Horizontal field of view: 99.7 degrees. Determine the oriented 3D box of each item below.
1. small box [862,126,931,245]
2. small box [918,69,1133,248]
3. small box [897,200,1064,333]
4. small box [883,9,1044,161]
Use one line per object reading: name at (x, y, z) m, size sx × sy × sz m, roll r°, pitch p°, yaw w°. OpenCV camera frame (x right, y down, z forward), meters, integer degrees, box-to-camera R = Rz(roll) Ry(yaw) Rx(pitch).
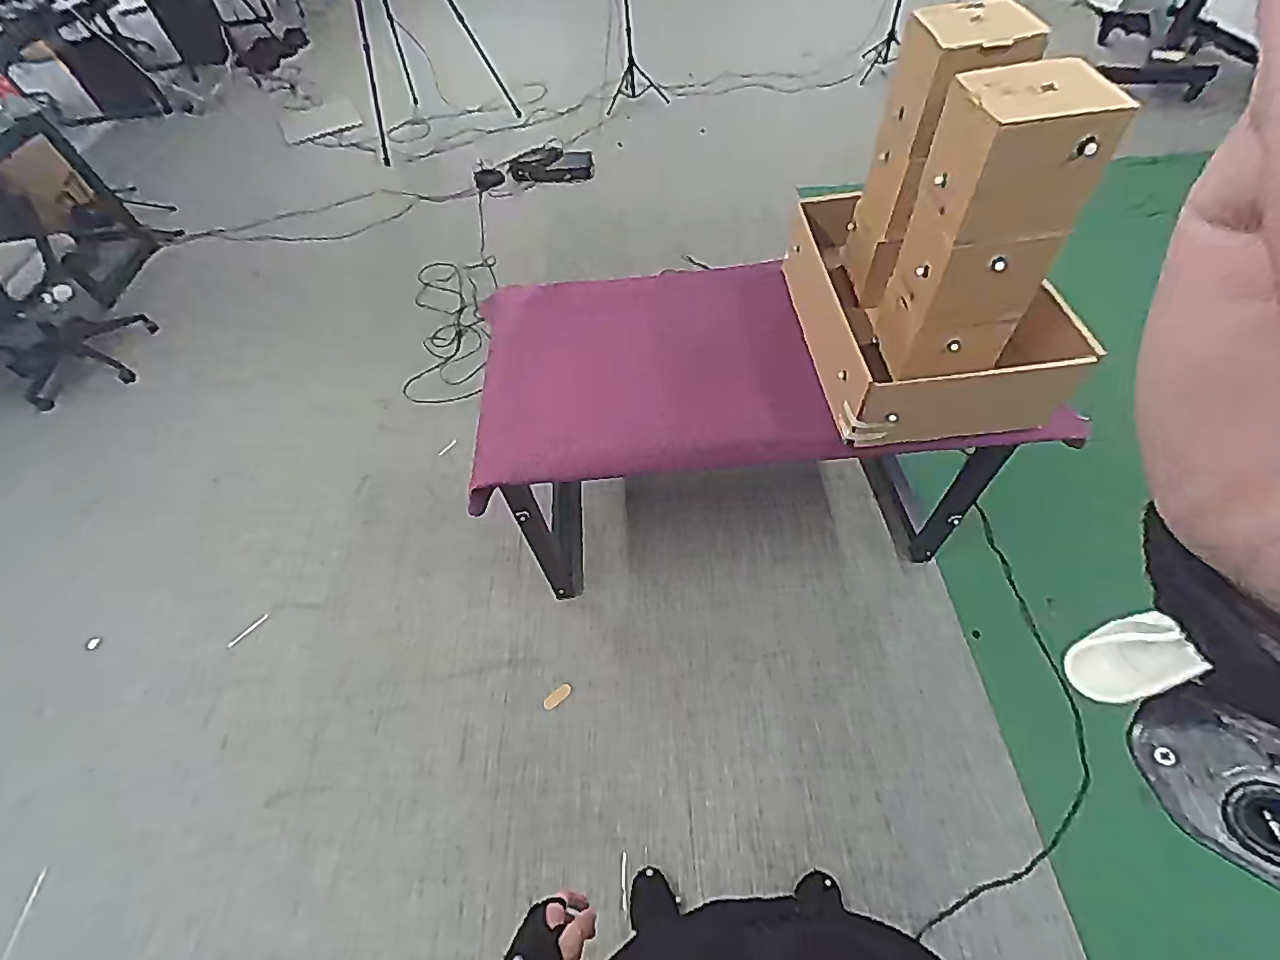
small box at (0.566, -0.592, 1.087) m, size 0.168 × 0.176 × 0.179 m, roll -4°, pitch 55°, yaw 4°
small box at (0.548, -0.469, 0.801) m, size 0.179 × 0.176 × 0.168 m, roll -5°, pitch 55°, yaw 4°
small box at (0.565, -0.372, 0.933) m, size 0.179 × 0.176 × 0.168 m, roll -4°, pitch 55°, yaw 4°
small box at (0.552, -0.685, 0.953) m, size 0.168 × 0.176 × 0.179 m, roll -4°, pitch 57°, yaw 3°
